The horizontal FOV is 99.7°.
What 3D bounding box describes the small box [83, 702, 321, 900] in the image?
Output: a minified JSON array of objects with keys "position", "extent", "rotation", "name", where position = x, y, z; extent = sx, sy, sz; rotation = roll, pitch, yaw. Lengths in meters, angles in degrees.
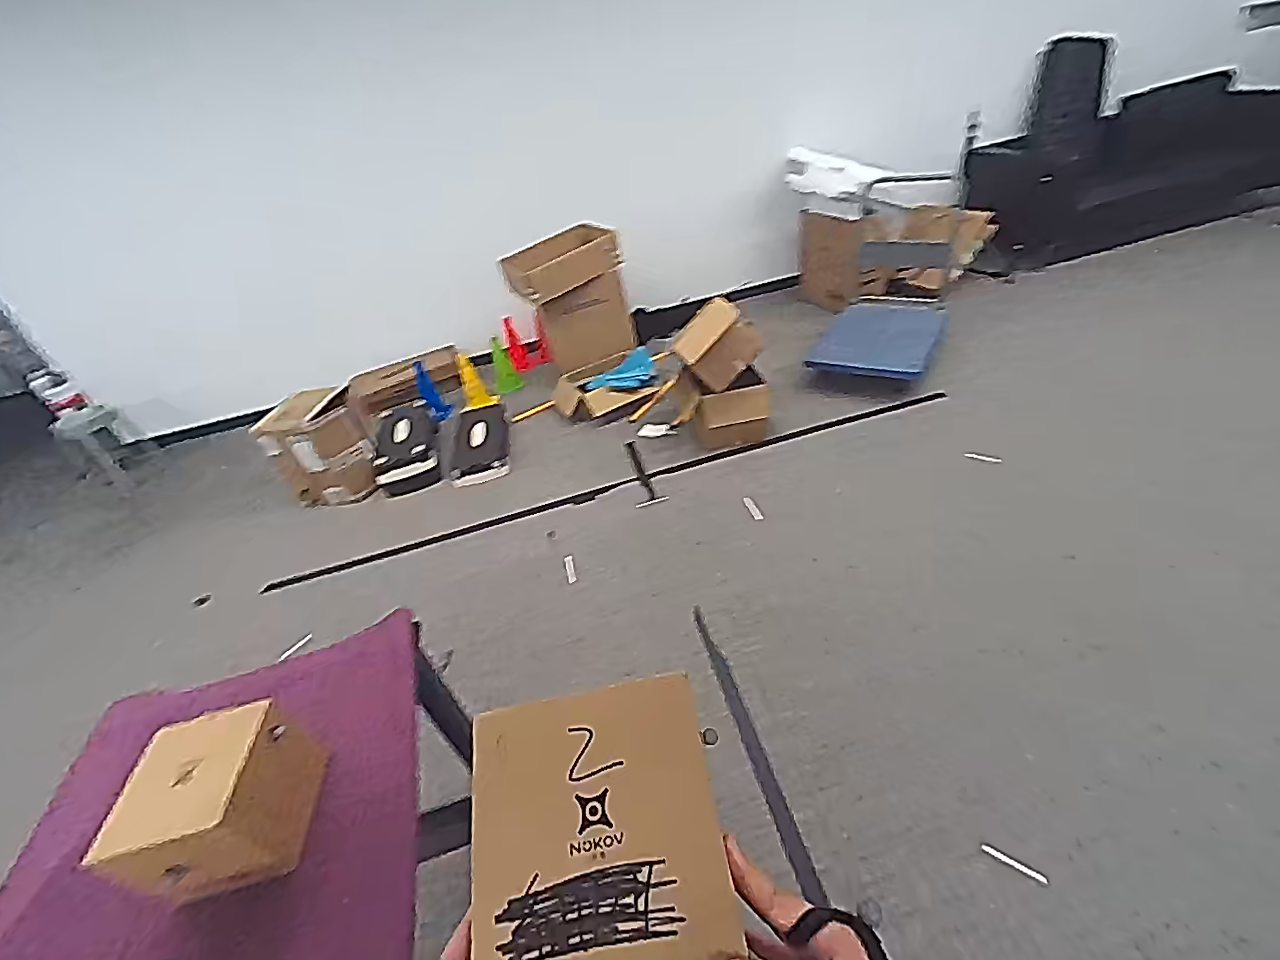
[{"position":[-0.586,0.454,0.759],"extent":[0.168,0.176,0.179],"rotation":[-15,36,-3],"name":"small box"}]
